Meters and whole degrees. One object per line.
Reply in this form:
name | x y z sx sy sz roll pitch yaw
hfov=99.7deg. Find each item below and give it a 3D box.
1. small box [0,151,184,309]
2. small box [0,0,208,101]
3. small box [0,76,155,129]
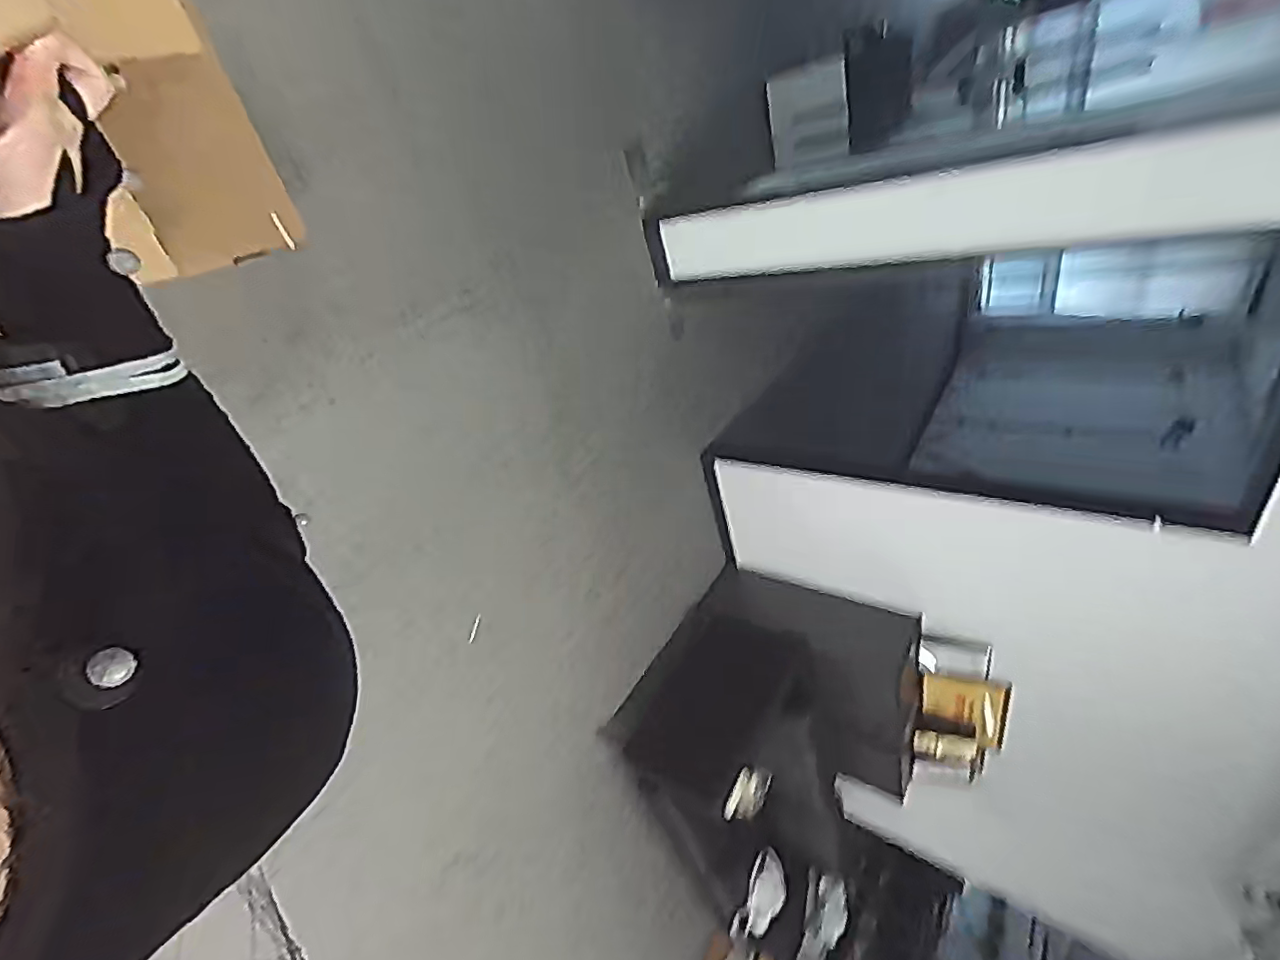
small box | -0.807 -0.346 0.757 0.179 0.176 0.168 -42 130 -41
small box | -0.663 -0.561 0.625 0.179 0.176 0.168 -42 129 -38
small box | -0.796 -0.587 0.718 0.179 0.176 0.168 -44 130 -40
